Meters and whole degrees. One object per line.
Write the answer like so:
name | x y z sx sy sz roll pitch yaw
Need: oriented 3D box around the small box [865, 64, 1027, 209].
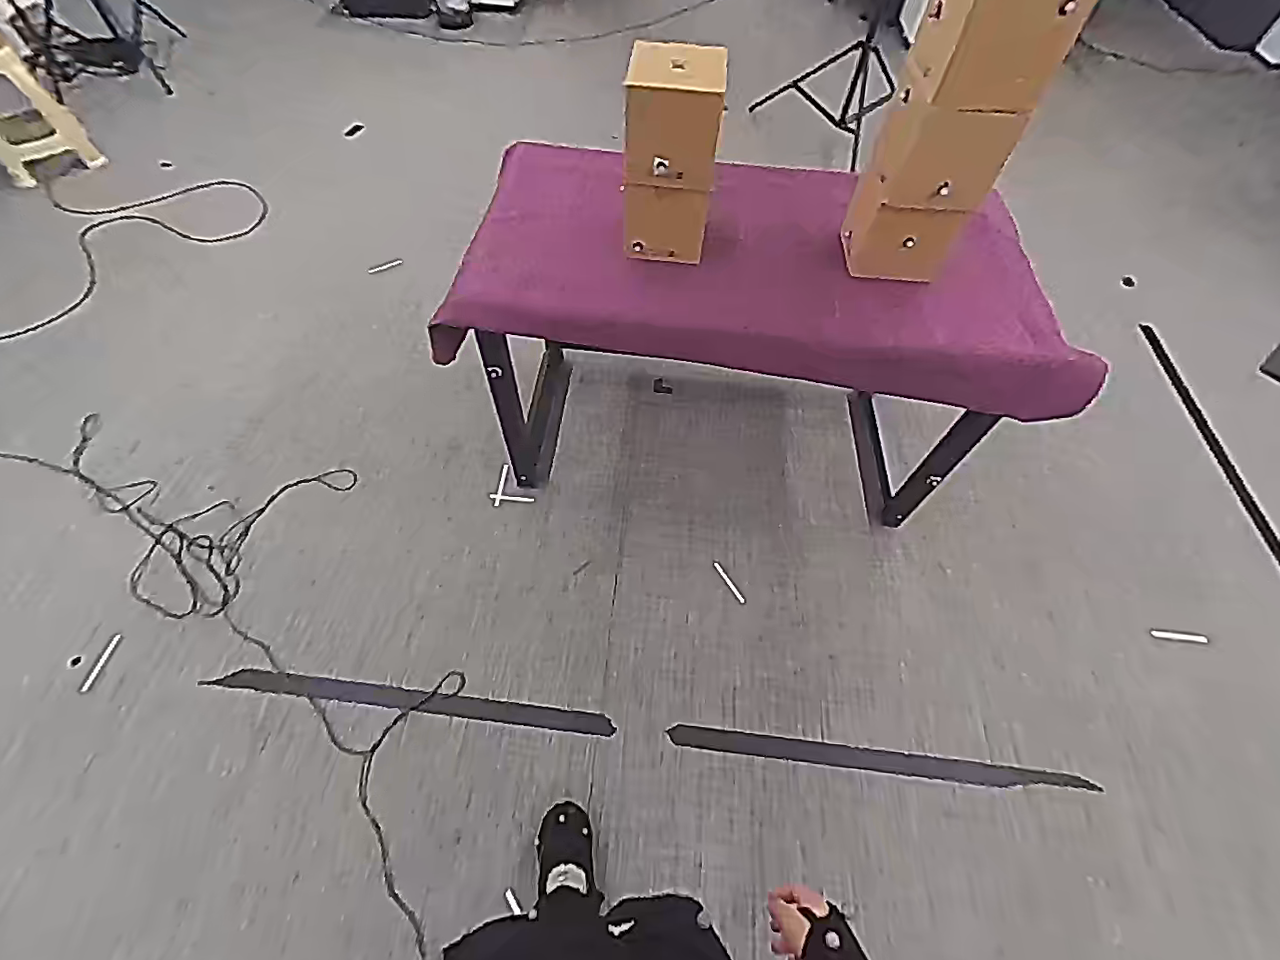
small box | 0.540 -0.617 0.983 0.179 0.176 0.168 2 57 -2

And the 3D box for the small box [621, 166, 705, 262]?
small box | 0.051 -0.582 1.130 0.168 0.176 0.179 6 57 1

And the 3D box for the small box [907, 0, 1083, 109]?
small box | 0.546 -0.712 0.849 0.179 0.176 0.168 2 58 -1

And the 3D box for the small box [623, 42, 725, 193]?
small box | 0.059 -0.658 0.987 0.168 0.176 0.179 5 59 1
